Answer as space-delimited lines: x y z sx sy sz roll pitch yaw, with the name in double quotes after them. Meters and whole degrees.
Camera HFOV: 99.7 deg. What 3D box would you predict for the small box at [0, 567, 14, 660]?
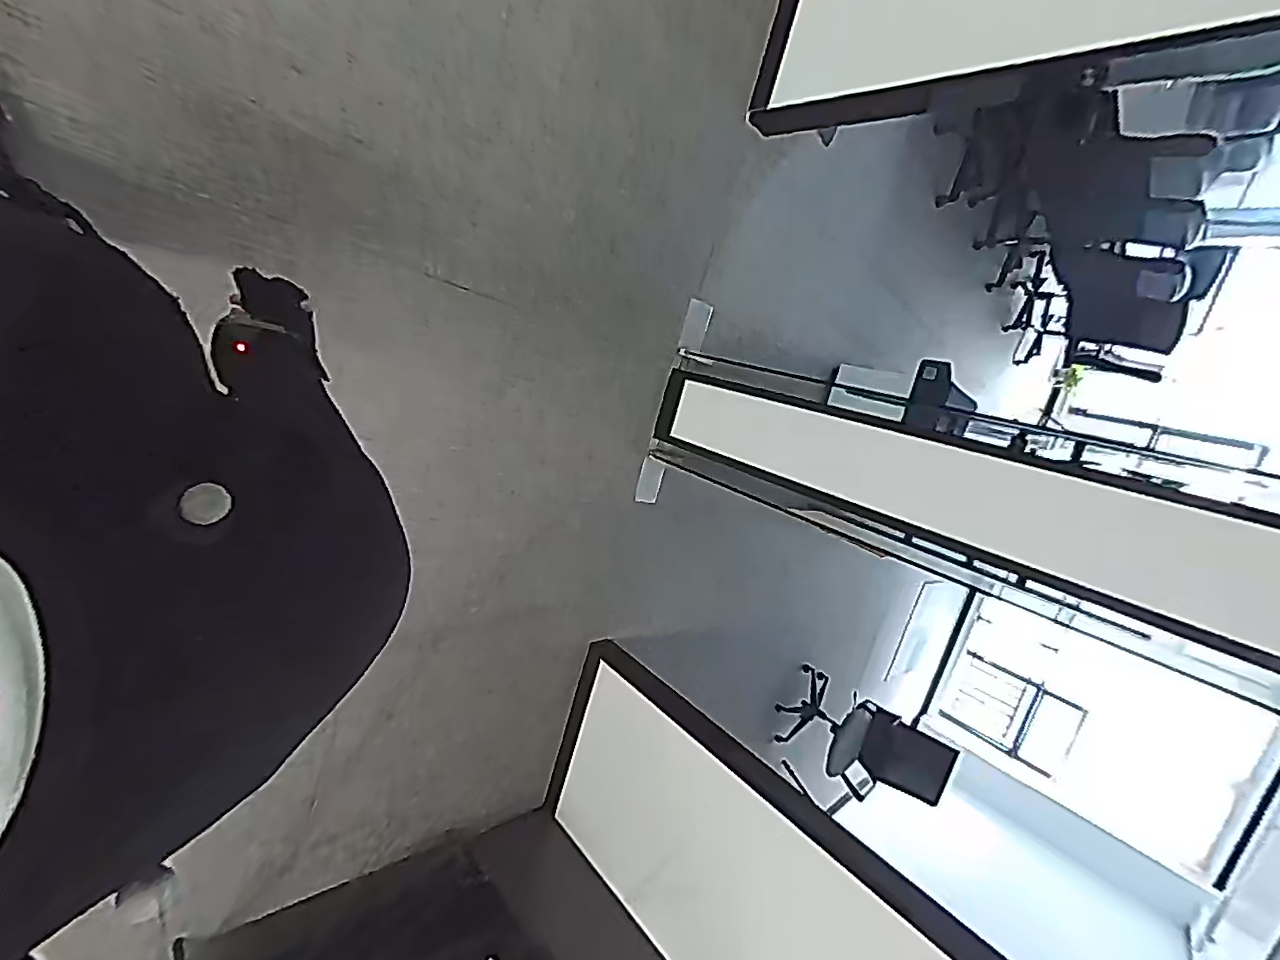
-1.253 0.270 0.960 0.168 0.176 0.179 8 103 -47 "small box"
